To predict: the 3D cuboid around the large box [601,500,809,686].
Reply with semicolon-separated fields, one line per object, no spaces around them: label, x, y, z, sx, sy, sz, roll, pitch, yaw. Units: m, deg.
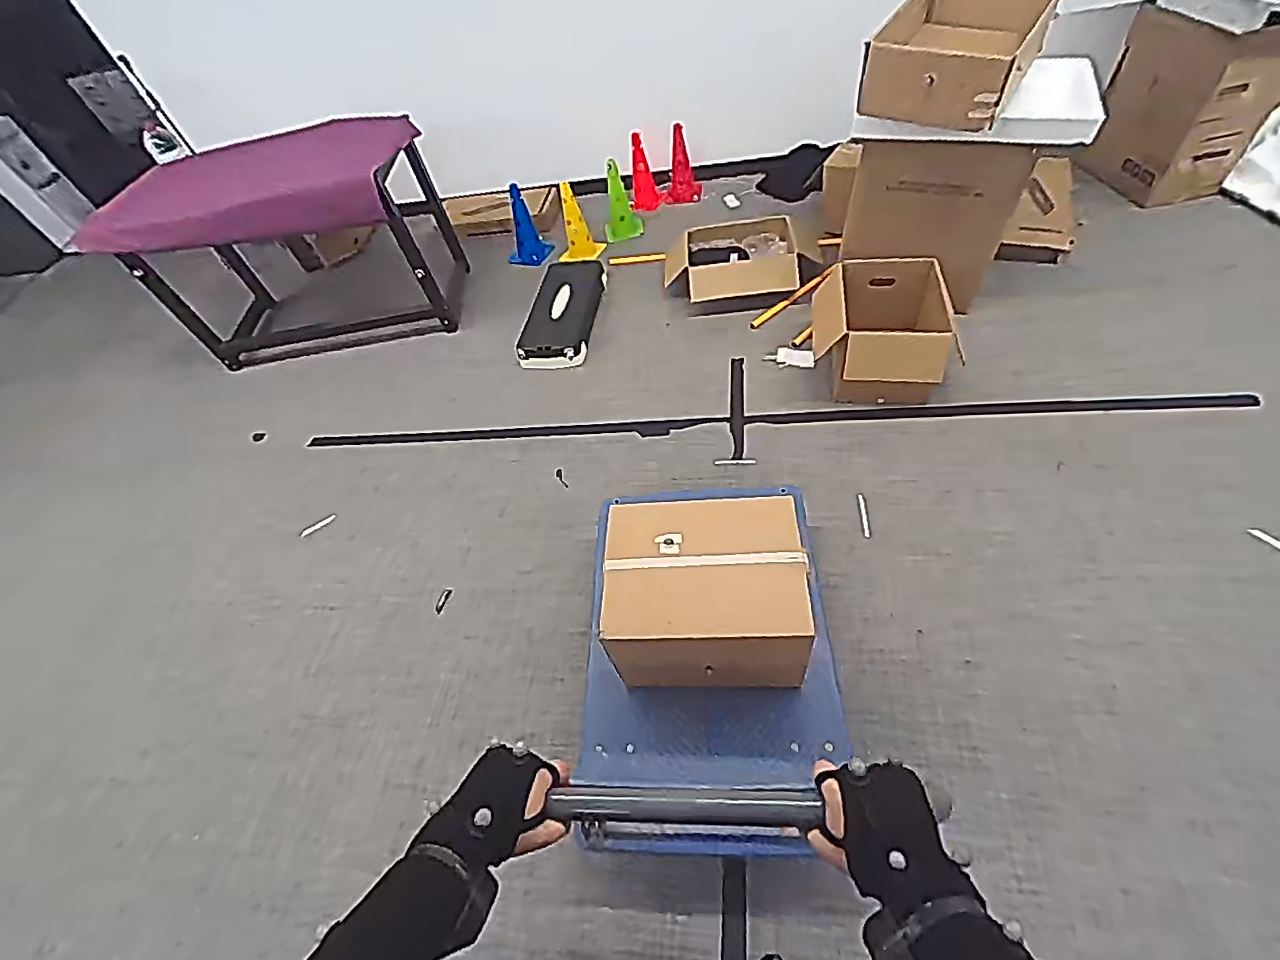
large box;0.149;0.270;1.237;0.408;0.320;0.320;-4;52;9
